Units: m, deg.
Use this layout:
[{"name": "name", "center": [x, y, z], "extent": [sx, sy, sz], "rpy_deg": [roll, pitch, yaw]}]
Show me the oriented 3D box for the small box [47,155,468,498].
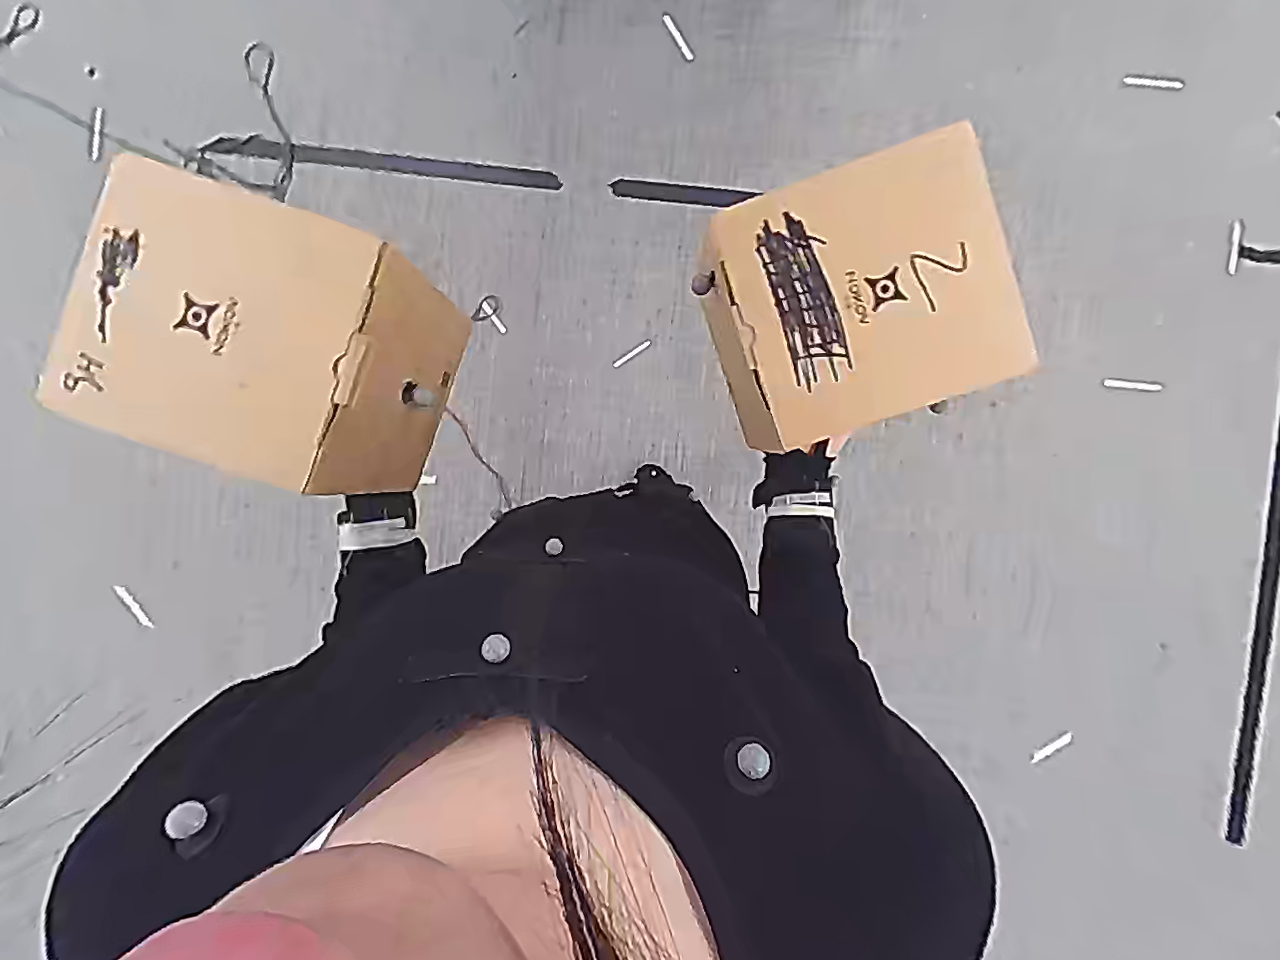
[{"name": "small box", "center": [-0.253, -0.094, 0.408], "extent": [0.179, 0.176, 0.168], "rpy_deg": [18, 90, -1]}]
